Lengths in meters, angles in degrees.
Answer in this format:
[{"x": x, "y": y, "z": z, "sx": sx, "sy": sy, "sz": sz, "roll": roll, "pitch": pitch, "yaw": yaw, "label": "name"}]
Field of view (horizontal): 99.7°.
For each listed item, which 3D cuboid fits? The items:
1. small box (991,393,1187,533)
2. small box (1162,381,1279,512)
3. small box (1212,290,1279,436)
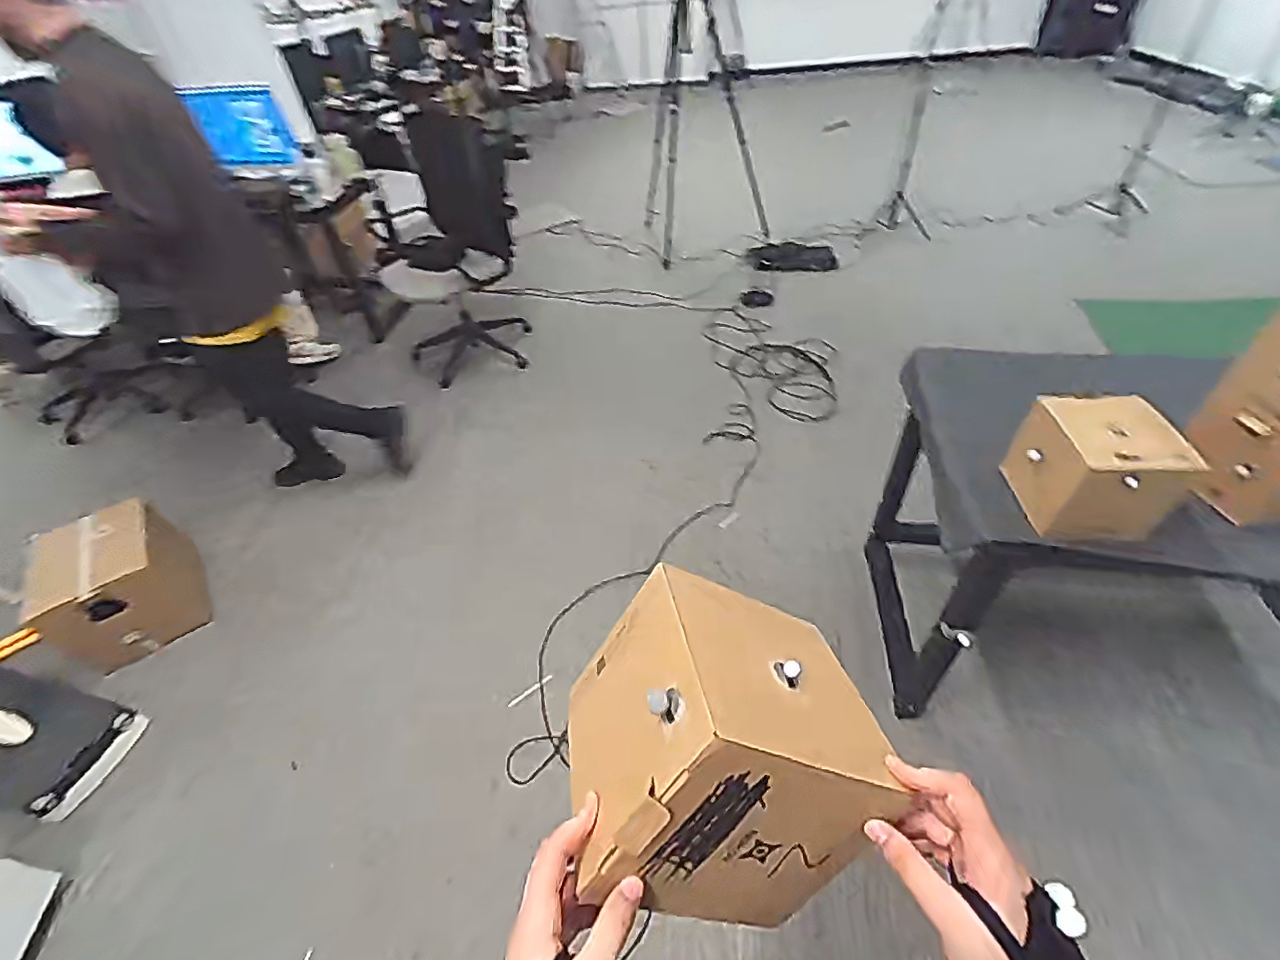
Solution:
[{"x": 0.741, "y": -0.031, "z": 0.923, "sx": 0.168, "sy": 0.176, "sz": 0.179, "roll": -1, "pitch": 45, "yaw": 5, "label": "small box"}, {"x": 1.043, "y": -0.062, "z": 0.920, "sx": 0.179, "sy": 0.176, "sz": 0.168, "roll": -9, "pitch": 45, "yaw": -3, "label": "small box"}, {"x": 1.028, "y": -0.177, "z": 0.803, "sx": 0.179, "sy": 0.176, "sz": 0.168, "roll": -7, "pitch": 45, "yaw": 0, "label": "small box"}]
